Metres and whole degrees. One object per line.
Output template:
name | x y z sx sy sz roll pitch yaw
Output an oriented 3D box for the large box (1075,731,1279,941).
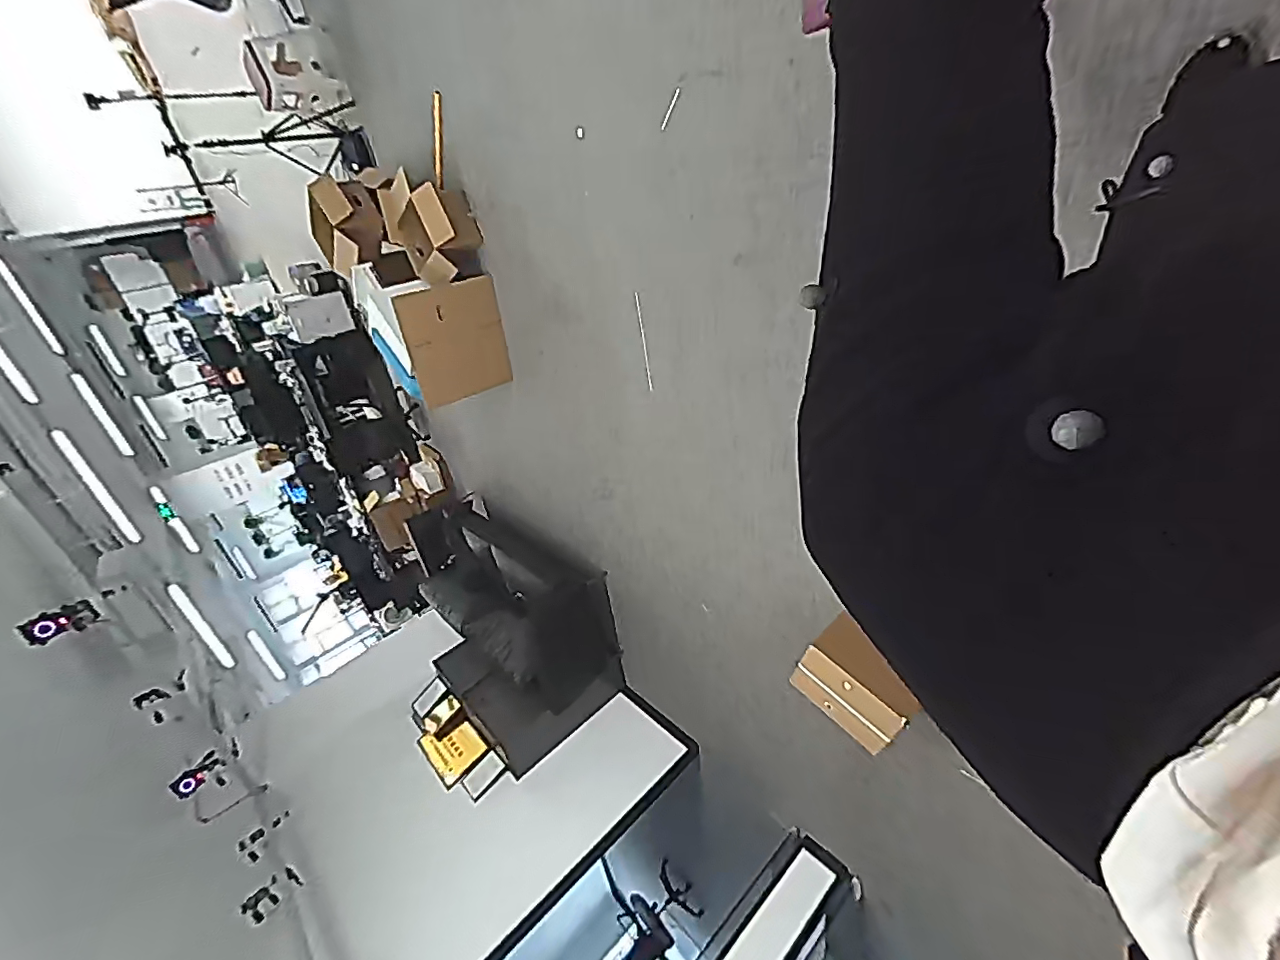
large box | 1.490 0.916 1.434 0.408 0.320 0.320 -26 94 56
